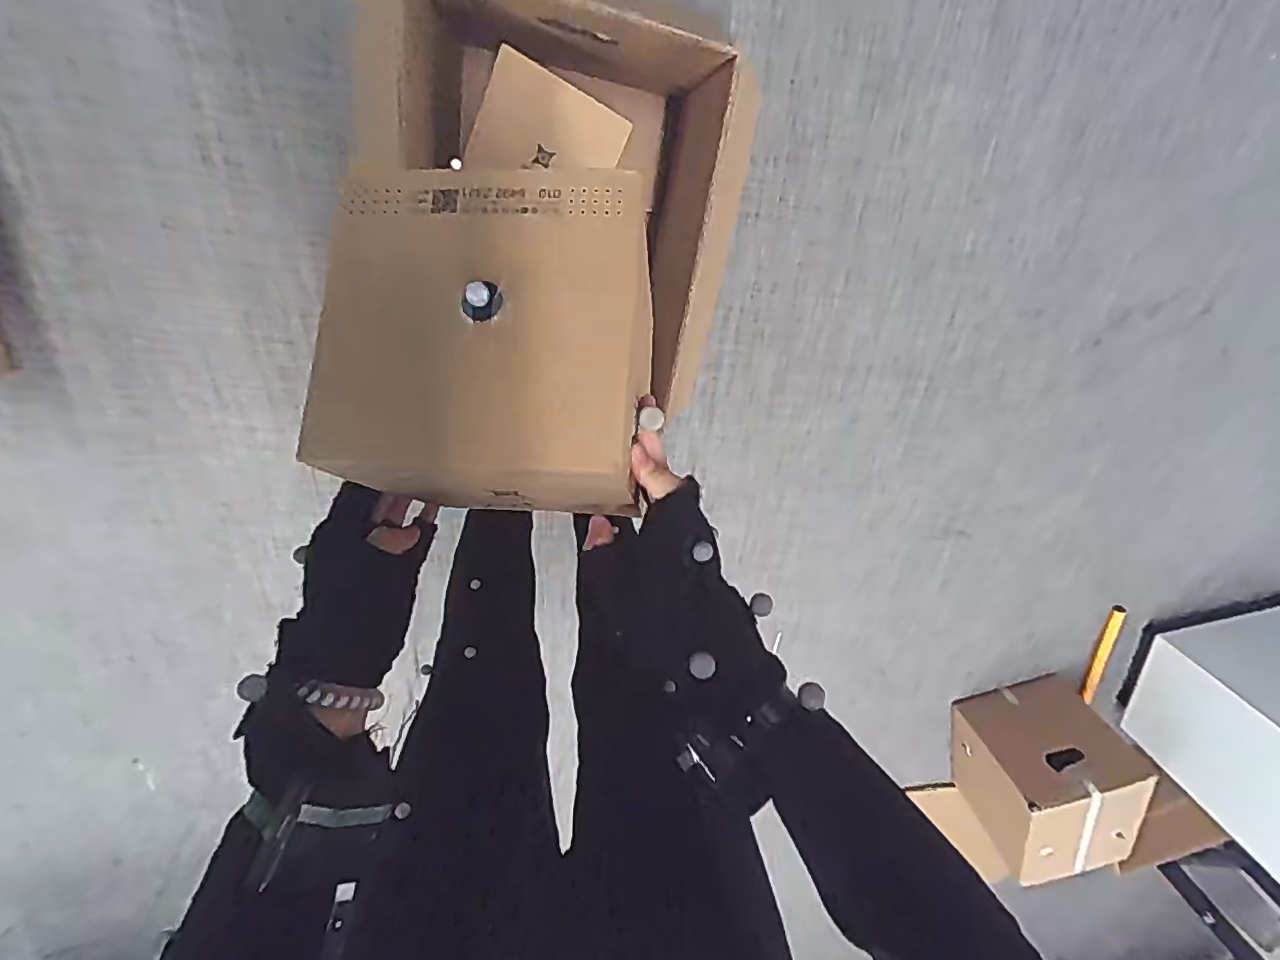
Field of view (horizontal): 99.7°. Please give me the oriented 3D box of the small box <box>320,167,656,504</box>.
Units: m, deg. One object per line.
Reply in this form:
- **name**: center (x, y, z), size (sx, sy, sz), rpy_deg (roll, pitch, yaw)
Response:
- **small box**: center (-0.076, -0.081, 0.365), size (0.168, 0.179, 0.176), rpy_deg (2, 79, 4)
